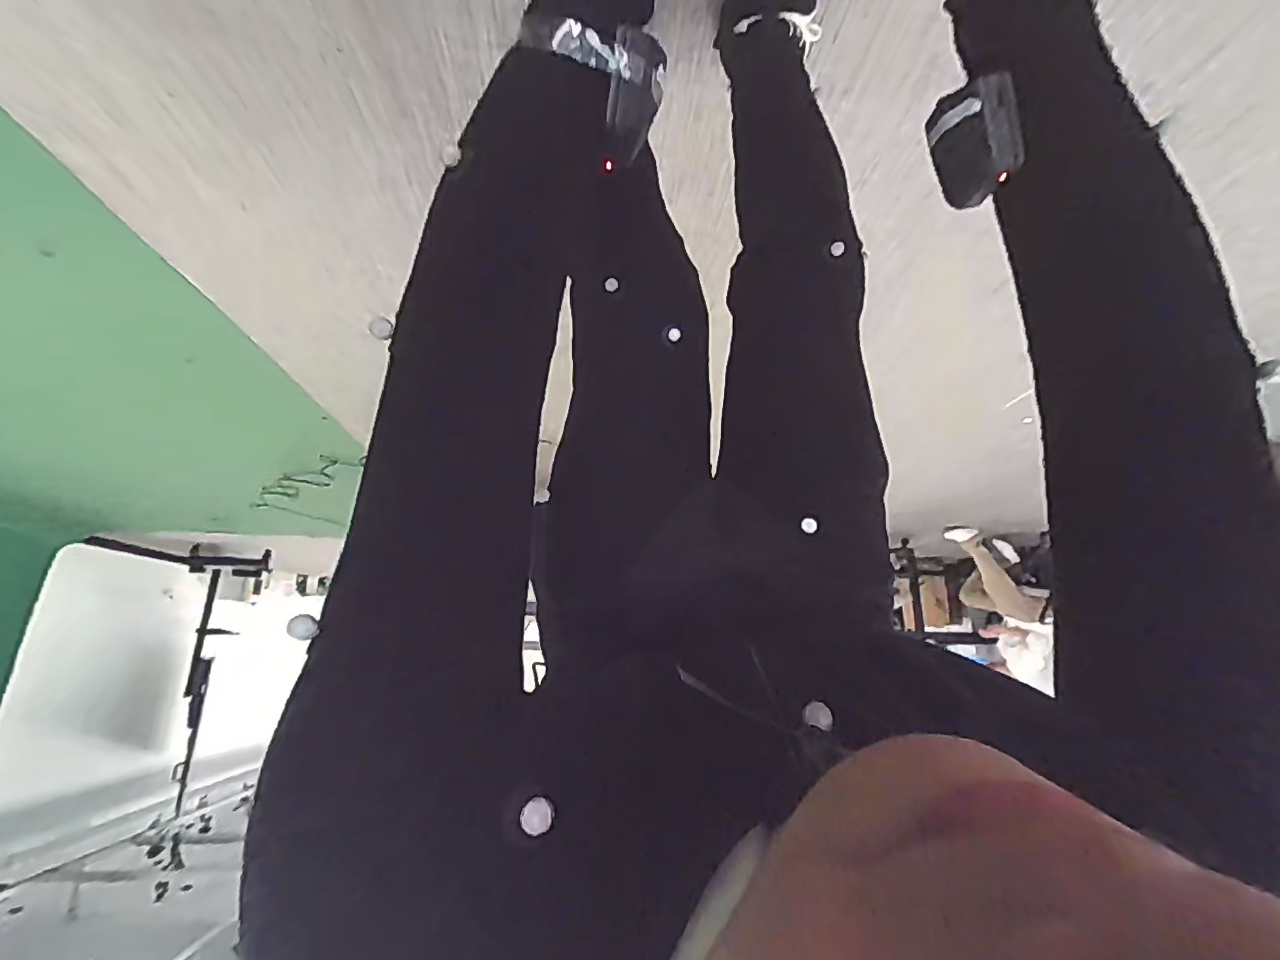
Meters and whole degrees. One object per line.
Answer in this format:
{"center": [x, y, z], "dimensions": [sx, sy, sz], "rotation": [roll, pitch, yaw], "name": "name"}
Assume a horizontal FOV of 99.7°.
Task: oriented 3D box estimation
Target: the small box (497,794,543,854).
{"center": [-0.492, 1.416, 2.232], "dimensions": [0.168, 0.176, 0.179], "rotation": [2, 163, -4], "name": "small box"}
